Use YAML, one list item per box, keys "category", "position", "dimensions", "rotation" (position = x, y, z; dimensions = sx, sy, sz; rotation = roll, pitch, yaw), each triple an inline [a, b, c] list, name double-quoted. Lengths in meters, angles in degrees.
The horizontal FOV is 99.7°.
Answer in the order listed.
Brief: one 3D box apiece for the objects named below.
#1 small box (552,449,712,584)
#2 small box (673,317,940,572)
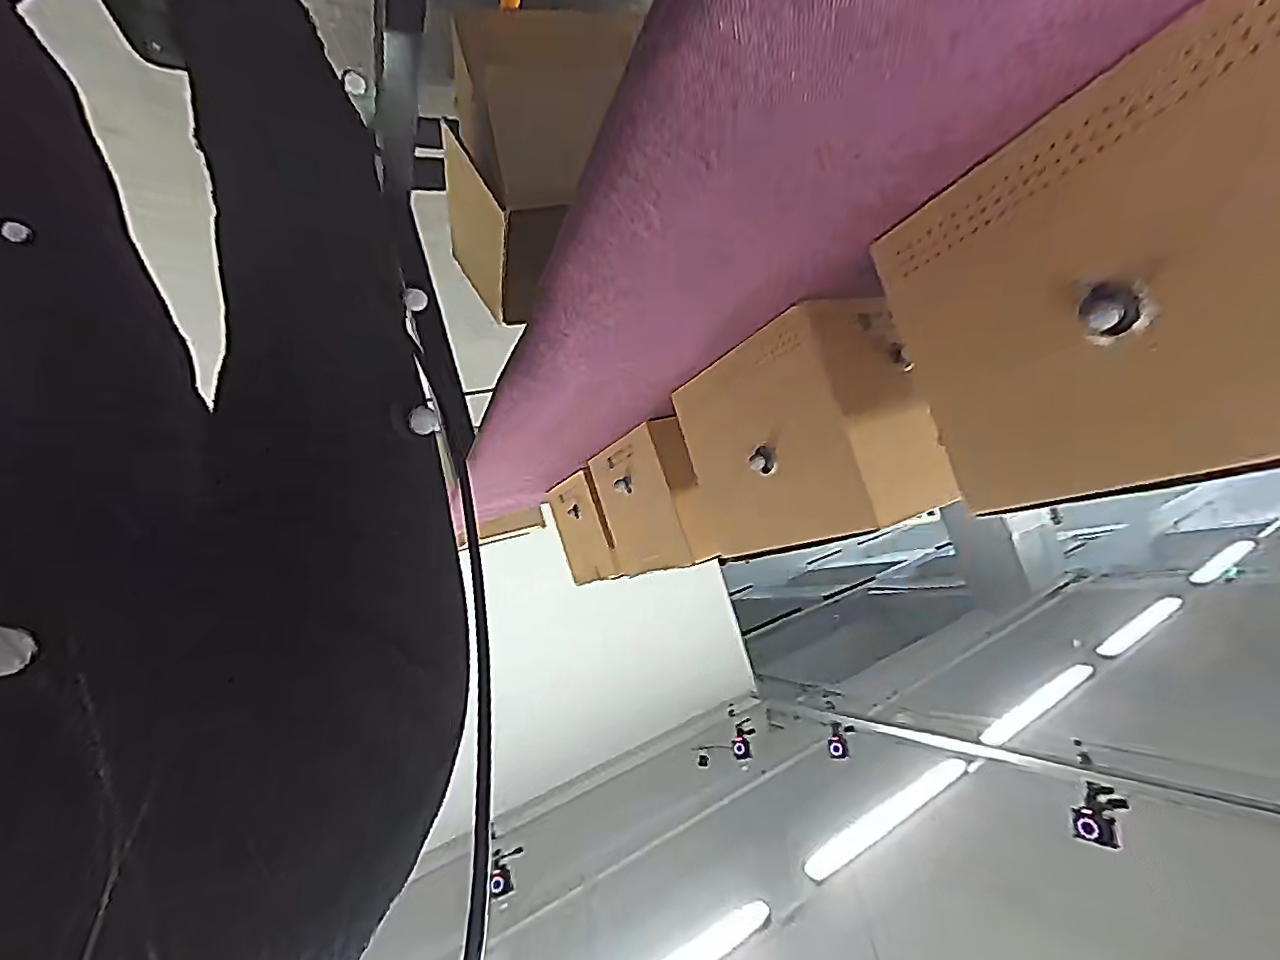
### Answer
- category: "small box"
  position: [-0.019, 0.057, 0.874]
  dimensions: [0.179, 0.176, 0.168]
  rotation: [-14, 173, -31]
- category: "small box"
  position: [0.146, -0.019, 0.523]
  dimensions: [0.168, 0.176, 0.179]
  rotation: [23, 166, -1]
